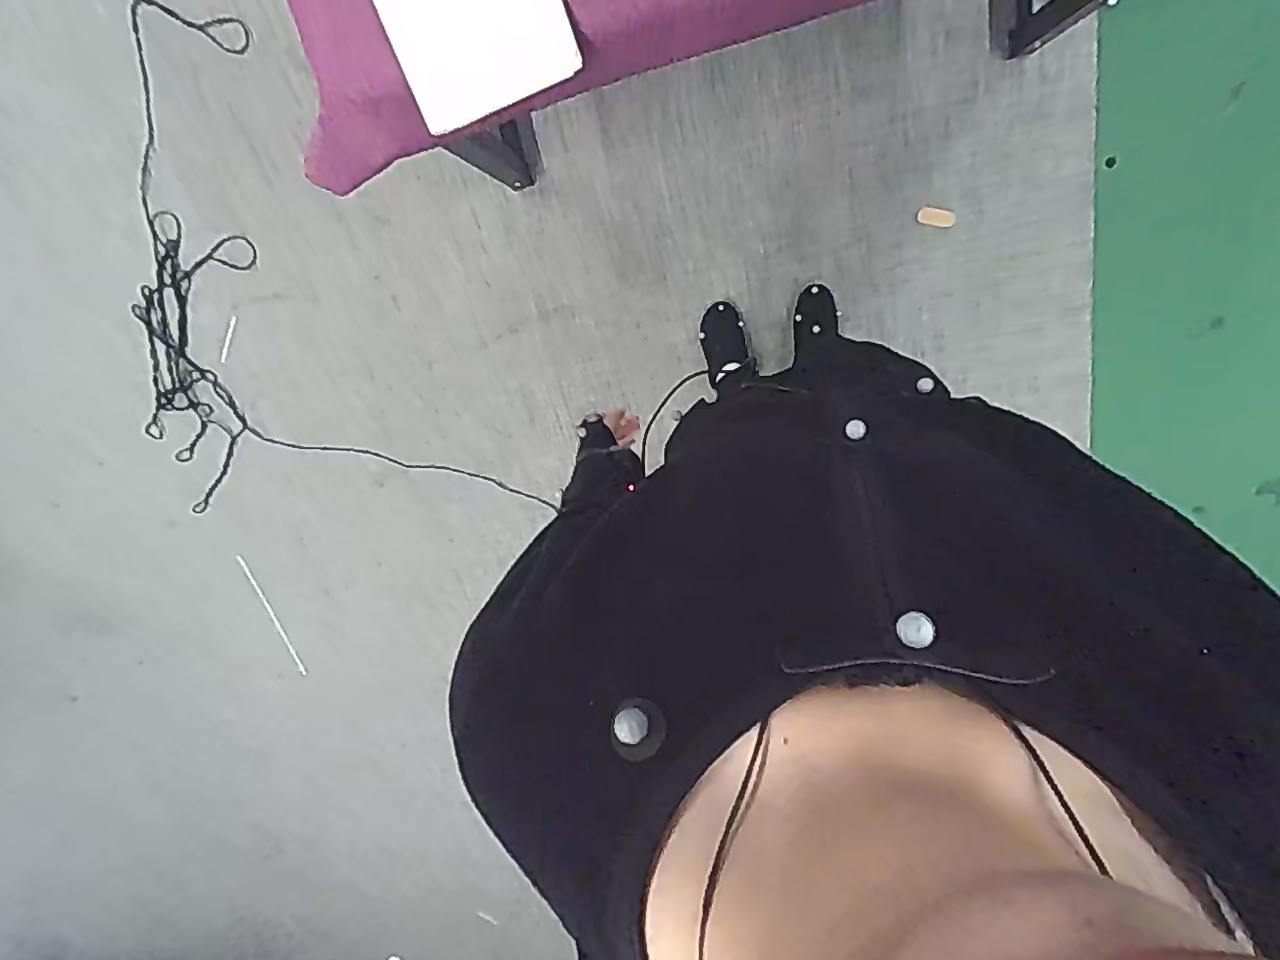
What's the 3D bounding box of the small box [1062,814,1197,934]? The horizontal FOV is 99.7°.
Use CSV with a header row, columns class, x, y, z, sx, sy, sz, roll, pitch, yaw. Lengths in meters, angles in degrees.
class,x,y,z,sx,sy,sz,roll,pitch,yaw
small box,1.215,0.978,1.353,0.179,0.176,0.168,-22,103,12
